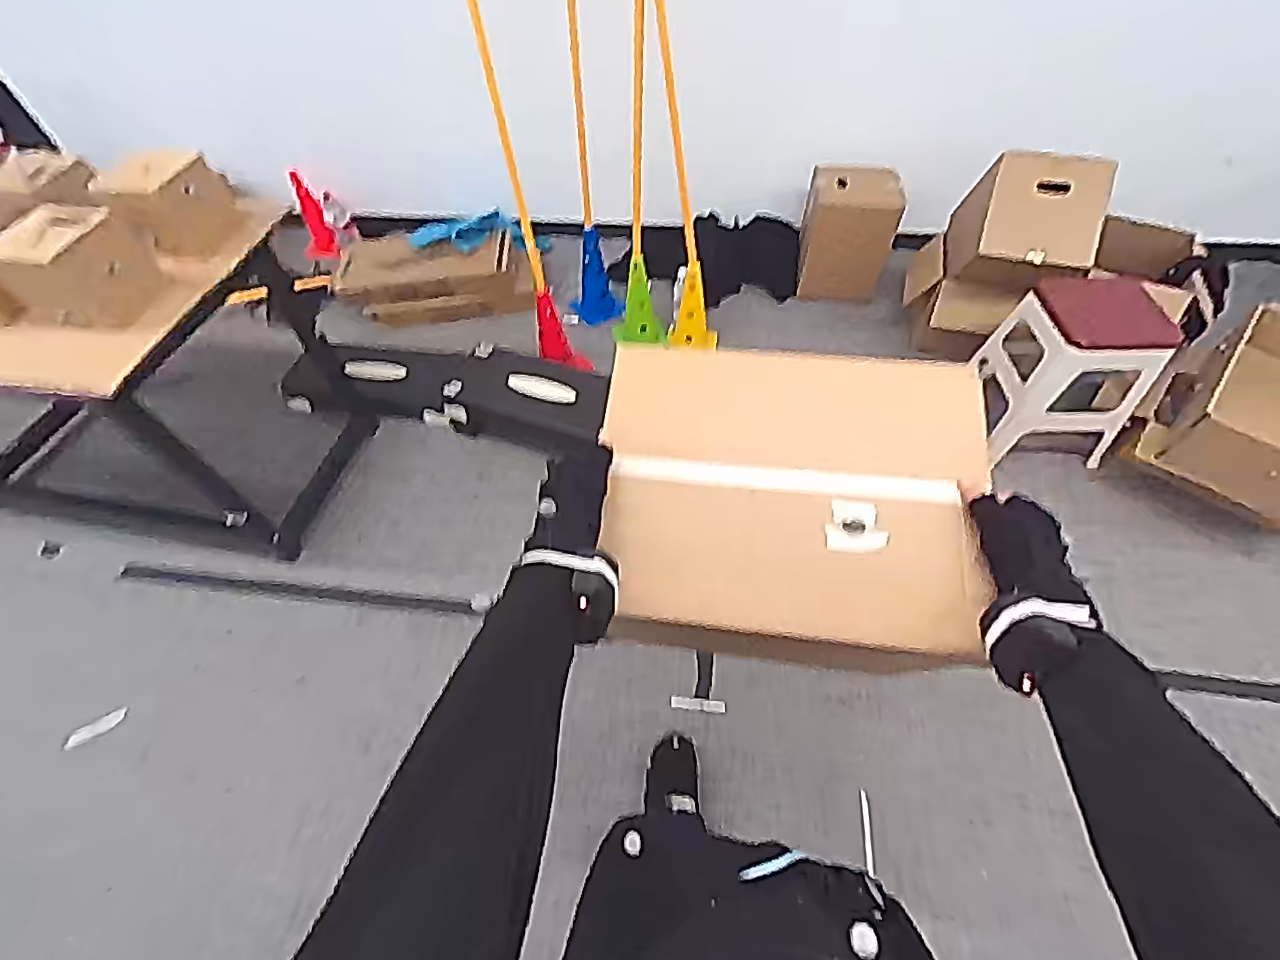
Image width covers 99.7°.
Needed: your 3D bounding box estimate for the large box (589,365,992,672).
[{"bbox_3d":[0.167,0.069,0.729,0.408,0.320,0.320,5,69,6],"label":"large box"}]
